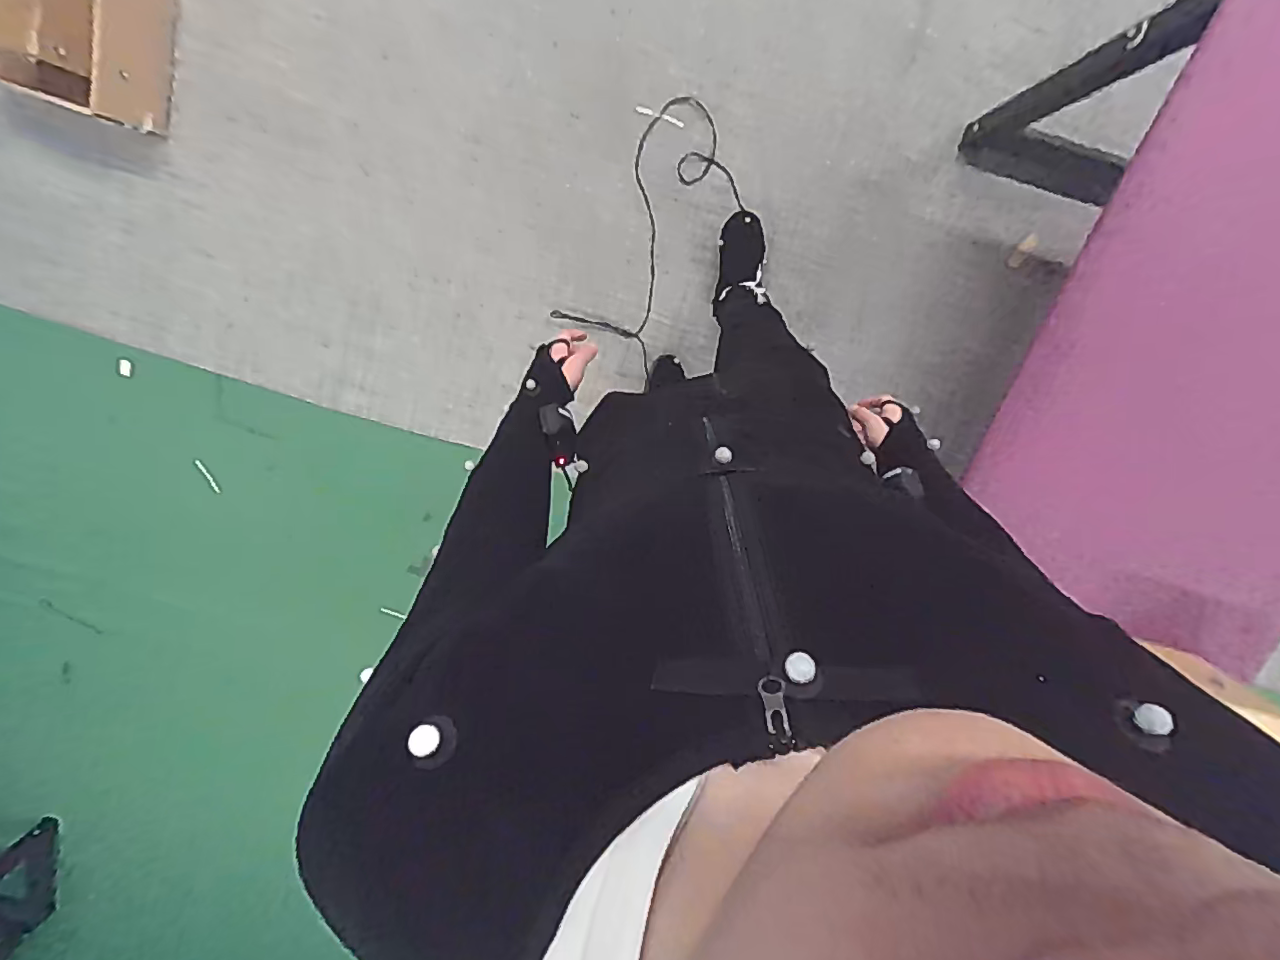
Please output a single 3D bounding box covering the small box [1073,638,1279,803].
[{"bbox_3d":[0.889,0.387,0.895,0.179,0.176,0.168,16,107,-3],"label":"small box"}]
